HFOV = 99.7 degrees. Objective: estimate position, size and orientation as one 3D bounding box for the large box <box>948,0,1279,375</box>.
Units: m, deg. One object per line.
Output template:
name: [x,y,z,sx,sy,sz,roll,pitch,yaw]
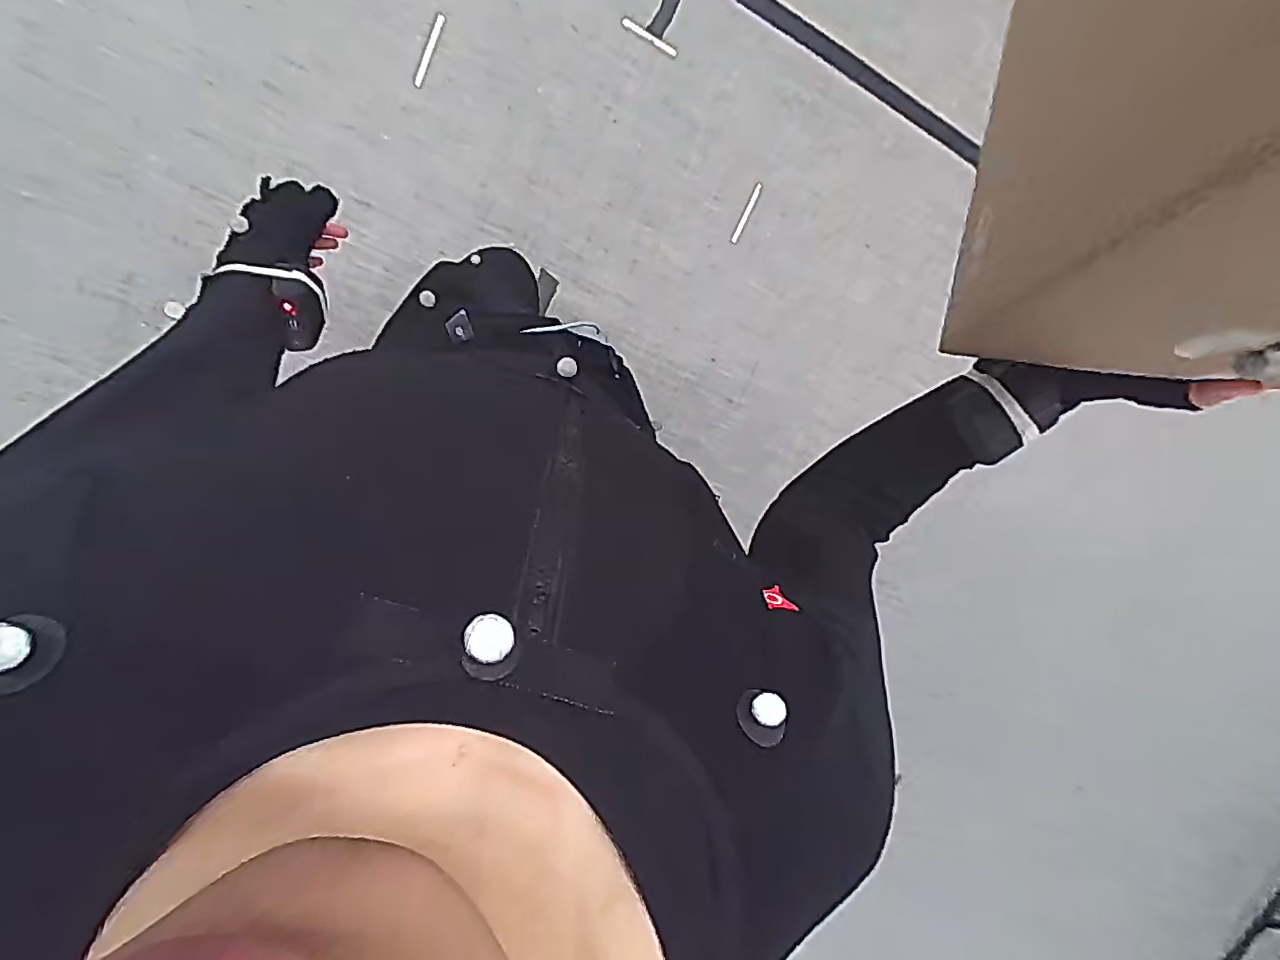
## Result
large box: [0.344,-0.210,0.170,0.320,0.408,0.320,12,101,15]
